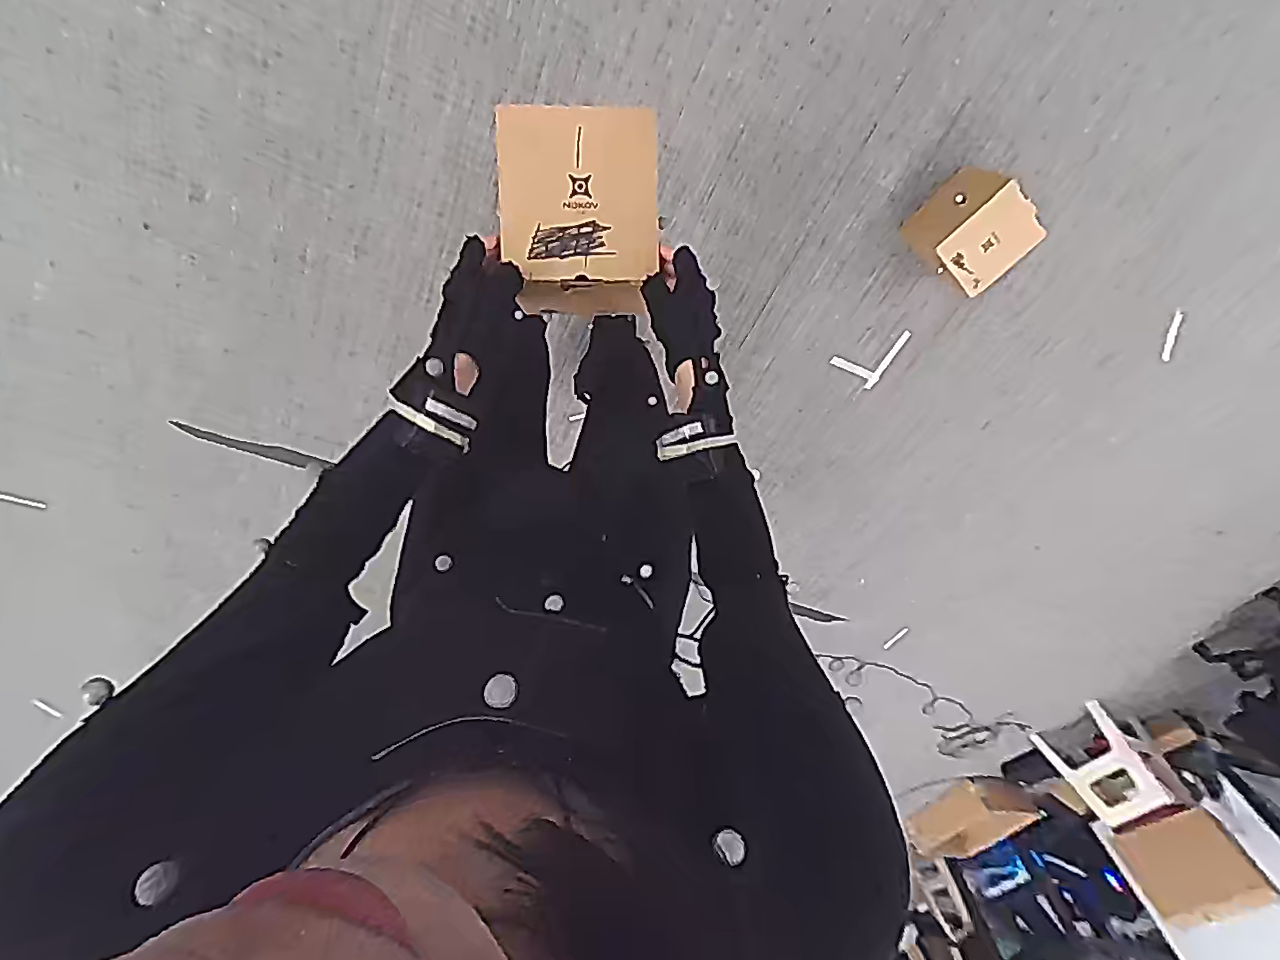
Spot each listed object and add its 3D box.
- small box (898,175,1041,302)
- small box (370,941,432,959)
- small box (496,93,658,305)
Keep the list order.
[{"bbox_3d":[0.707,-0.530,1.178,0.168,0.176,0.179,34,116,-27],"label":"small box"},{"bbox_3d":[-0.738,1.523,1.626,0.168,0.176,0.179,17,122,-20],"label":"small box"},{"bbox_3d":[-0.068,-0.309,0.632,0.168,0.176,0.179,-1,95,-4],"label":"small box"}]
